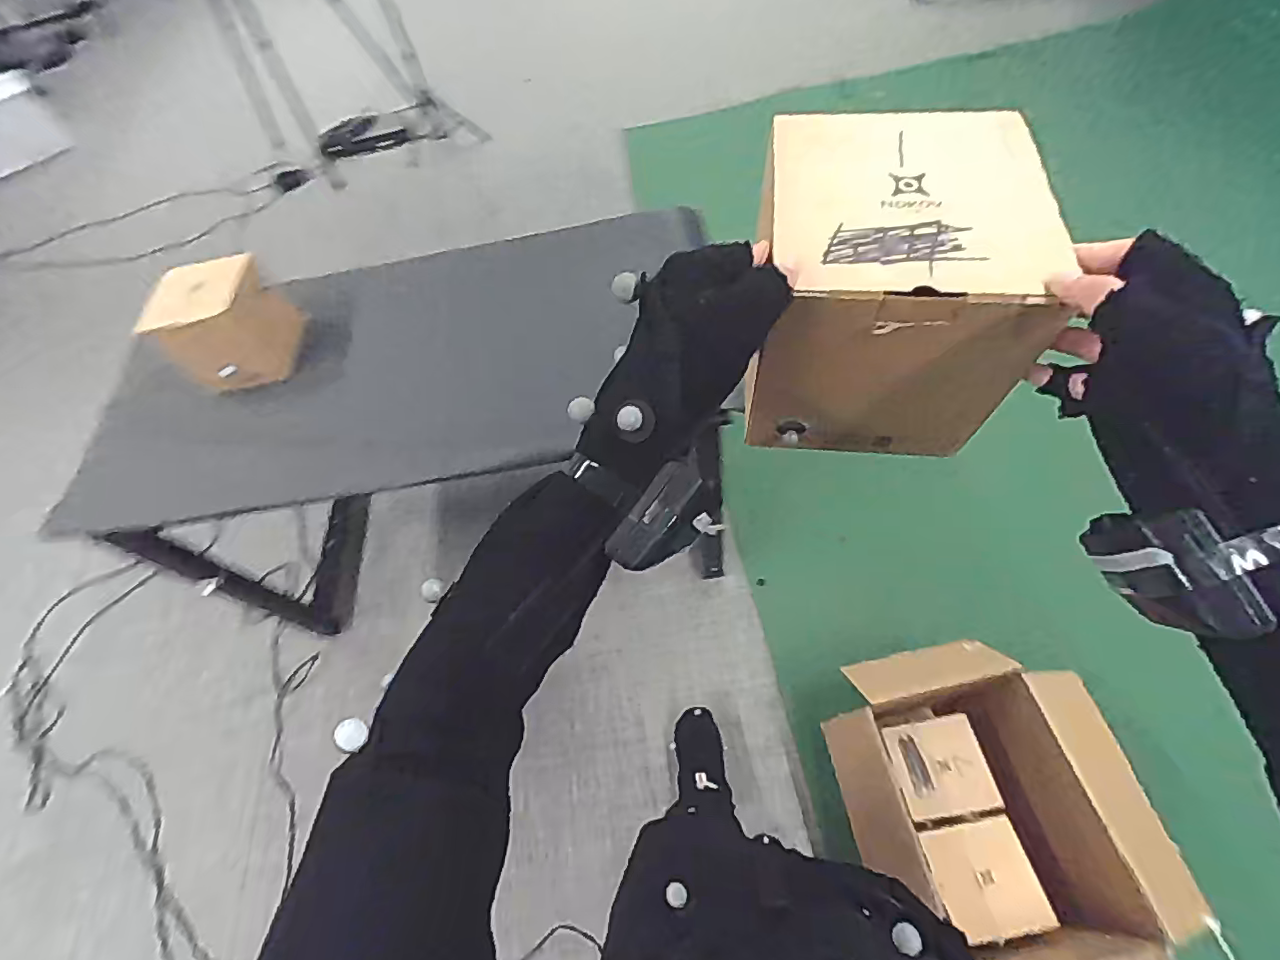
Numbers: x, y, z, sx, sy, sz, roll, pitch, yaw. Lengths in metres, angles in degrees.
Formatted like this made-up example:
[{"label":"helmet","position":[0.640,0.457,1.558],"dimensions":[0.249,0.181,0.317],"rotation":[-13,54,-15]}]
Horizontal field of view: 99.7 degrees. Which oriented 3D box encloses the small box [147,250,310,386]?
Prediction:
[{"label":"small box","position":[-0.781,-0.310,1.052],"dimensions":[0.168,0.176,0.179],"rotation":[-10,58,3]}]
